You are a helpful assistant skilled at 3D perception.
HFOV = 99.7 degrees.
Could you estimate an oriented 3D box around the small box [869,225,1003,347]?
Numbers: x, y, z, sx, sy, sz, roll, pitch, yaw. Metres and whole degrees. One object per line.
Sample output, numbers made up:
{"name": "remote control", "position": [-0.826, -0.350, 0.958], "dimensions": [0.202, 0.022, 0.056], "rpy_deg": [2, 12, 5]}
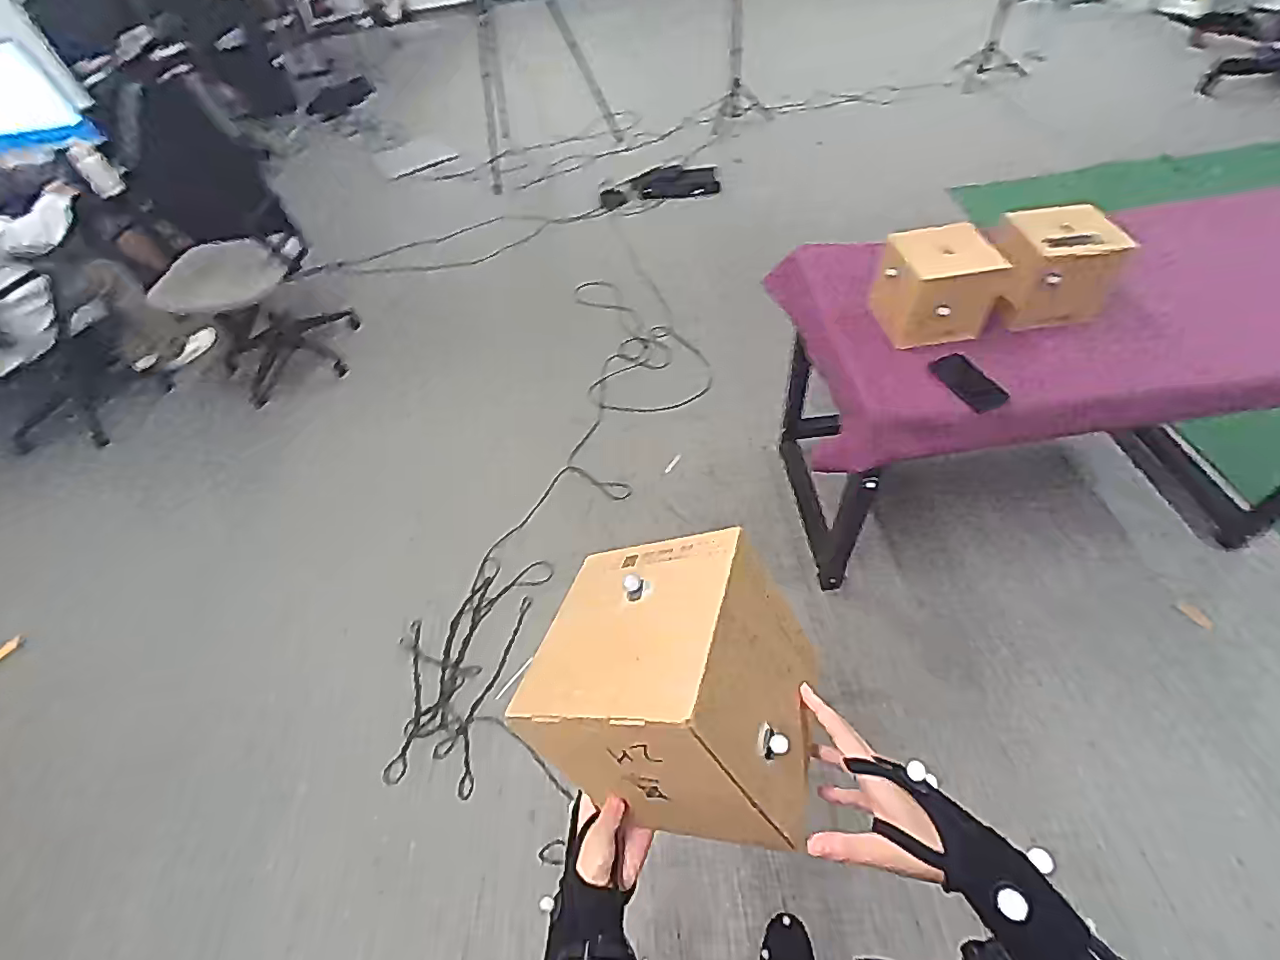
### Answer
{"name": "small box", "position": [0.597, -0.392, 1.115], "dimensions": [0.168, 0.176, 0.179], "rpy_deg": [-9, 50, 1]}

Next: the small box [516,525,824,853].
{"name": "small box", "position": [0.041, 0.163, 0.445], "dimensions": [0.168, 0.179, 0.176], "rpy_deg": [-15, 31, 33]}
